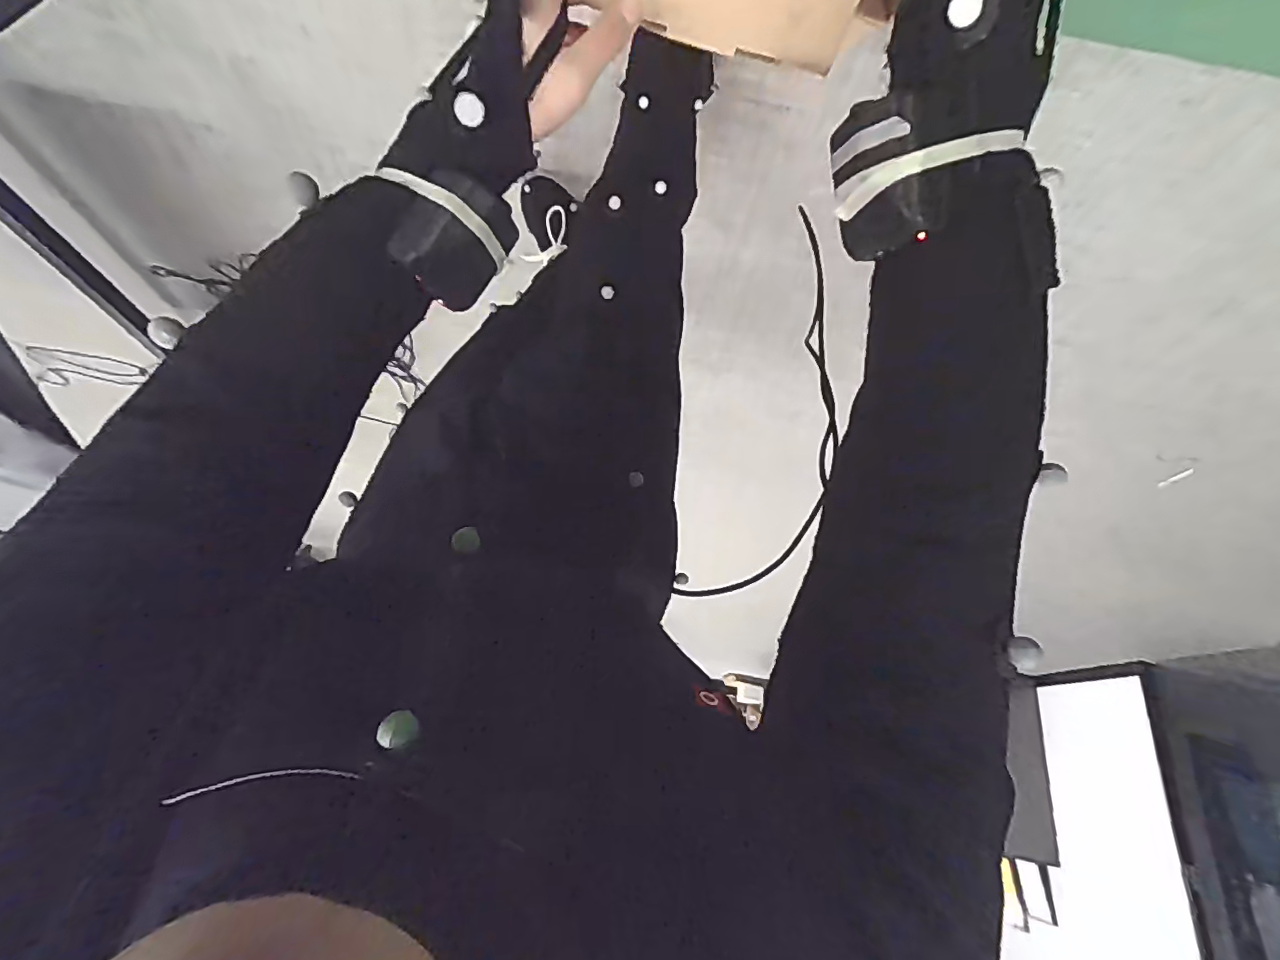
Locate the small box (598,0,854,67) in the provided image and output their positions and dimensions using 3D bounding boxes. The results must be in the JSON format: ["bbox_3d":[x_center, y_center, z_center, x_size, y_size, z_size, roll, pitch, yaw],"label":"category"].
[{"bbox_3d":[0.066,-0.377,0.283,0.168,0.176,0.179,14,155,-2],"label":"small box"}]
